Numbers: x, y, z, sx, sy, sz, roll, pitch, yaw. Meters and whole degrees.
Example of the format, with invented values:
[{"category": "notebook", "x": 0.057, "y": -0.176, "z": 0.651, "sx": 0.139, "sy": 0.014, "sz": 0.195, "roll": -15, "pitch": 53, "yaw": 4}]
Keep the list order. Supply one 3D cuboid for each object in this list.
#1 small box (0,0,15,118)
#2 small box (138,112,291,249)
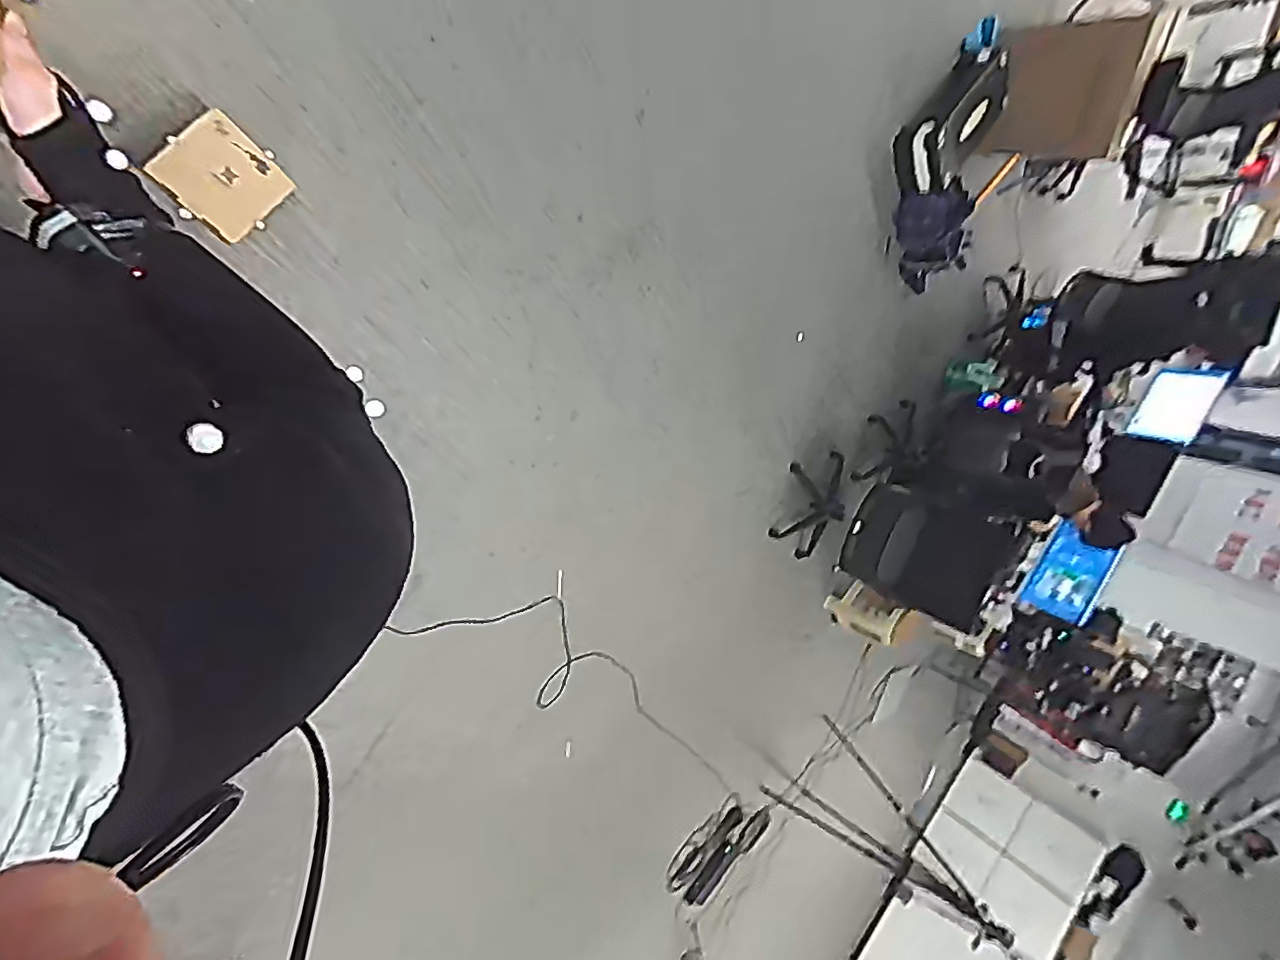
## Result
[{"category": "small box", "x": -0.556, "y": -0.362, "z": 0.360, "sx": 0.168, "sy": 0.176, "sz": 0.179, "roll": -5, "pitch": 128, "yaw": -43}, {"category": "small box", "x": -0.839, "y": -0.586, "z": 1.076, "sx": 0.179, "sy": 0.176, "sz": 0.168, "roll": -51, "pitch": 134, "yaw": -10}]
